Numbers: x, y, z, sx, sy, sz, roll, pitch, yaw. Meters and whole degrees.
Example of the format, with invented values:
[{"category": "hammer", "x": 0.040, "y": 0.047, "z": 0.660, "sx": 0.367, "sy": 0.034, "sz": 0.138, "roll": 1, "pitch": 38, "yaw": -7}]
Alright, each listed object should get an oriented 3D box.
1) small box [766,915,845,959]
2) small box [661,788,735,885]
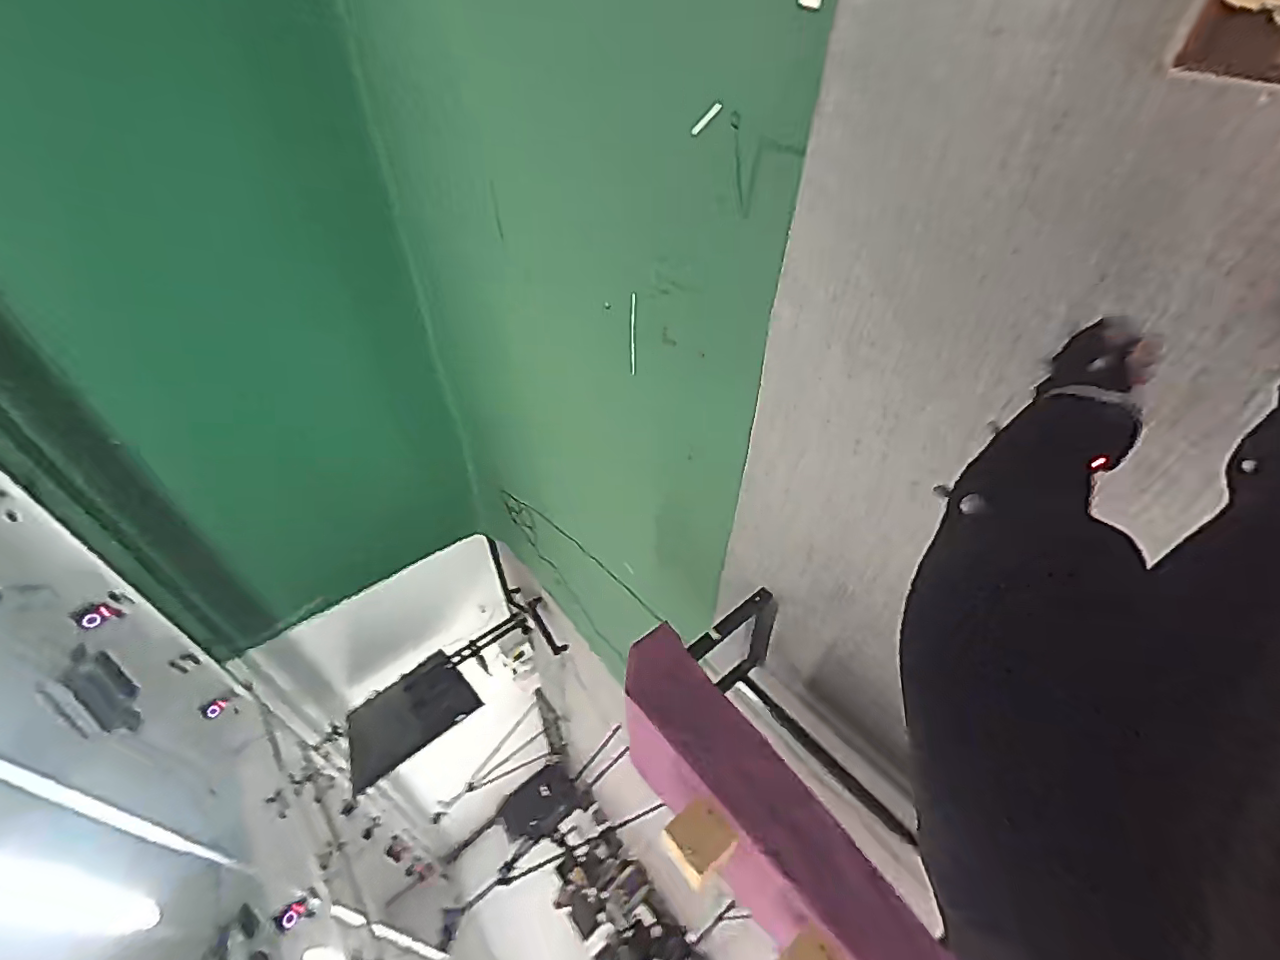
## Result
[{"category": "small box", "x": 0.450, "y": 1.332, "z": 1.461, "sx": 0.168, "sy": 0.176, "sz": 0.179, "roll": 39, "pitch": 145, "yaw": 34}, {"category": "small box", "x": 0.182, "y": 1.123, "z": 1.709, "sx": 0.168, "sy": 0.176, "sz": 0.179, "roll": 37, "pitch": 145, "yaw": 35}]
